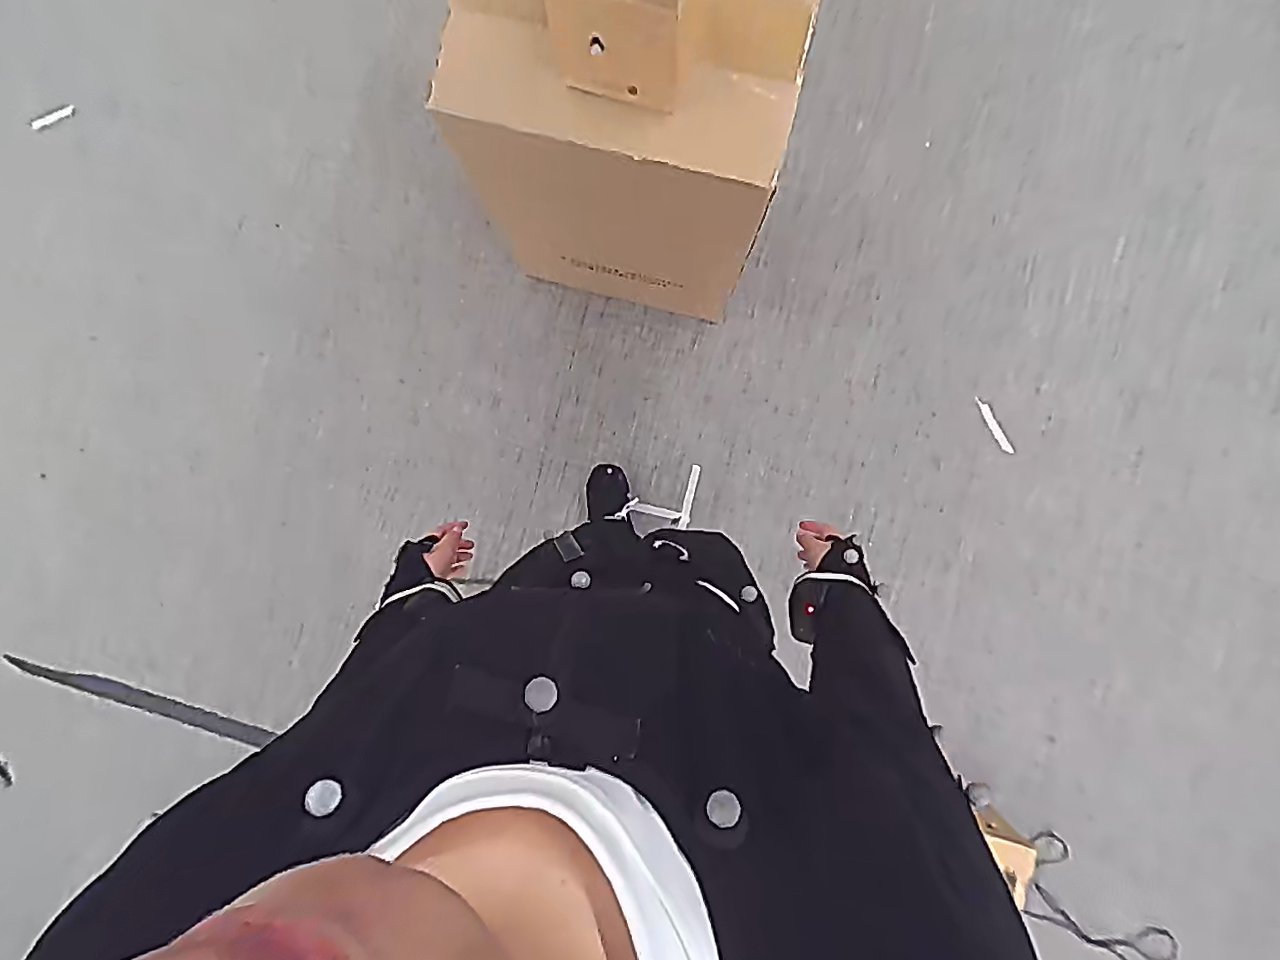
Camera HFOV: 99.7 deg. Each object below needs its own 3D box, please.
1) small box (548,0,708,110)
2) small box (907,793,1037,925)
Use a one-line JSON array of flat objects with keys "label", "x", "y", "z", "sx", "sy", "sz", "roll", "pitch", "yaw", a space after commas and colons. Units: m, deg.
[{"label": "small box", "x": -0.004, "y": -0.622, "z": 0.690, "sx": 0.168, "sy": 0.176, "sz": 0.179, "roll": 16, "pitch": 88, "yaw": 2}, {"label": "small box", "x": 0.758, "y": 0.863, "z": 1.251, "sx": 0.179, "sy": 0.176, "sz": 0.168, "roll": 16, "pitch": 88, "yaw": 3}]
